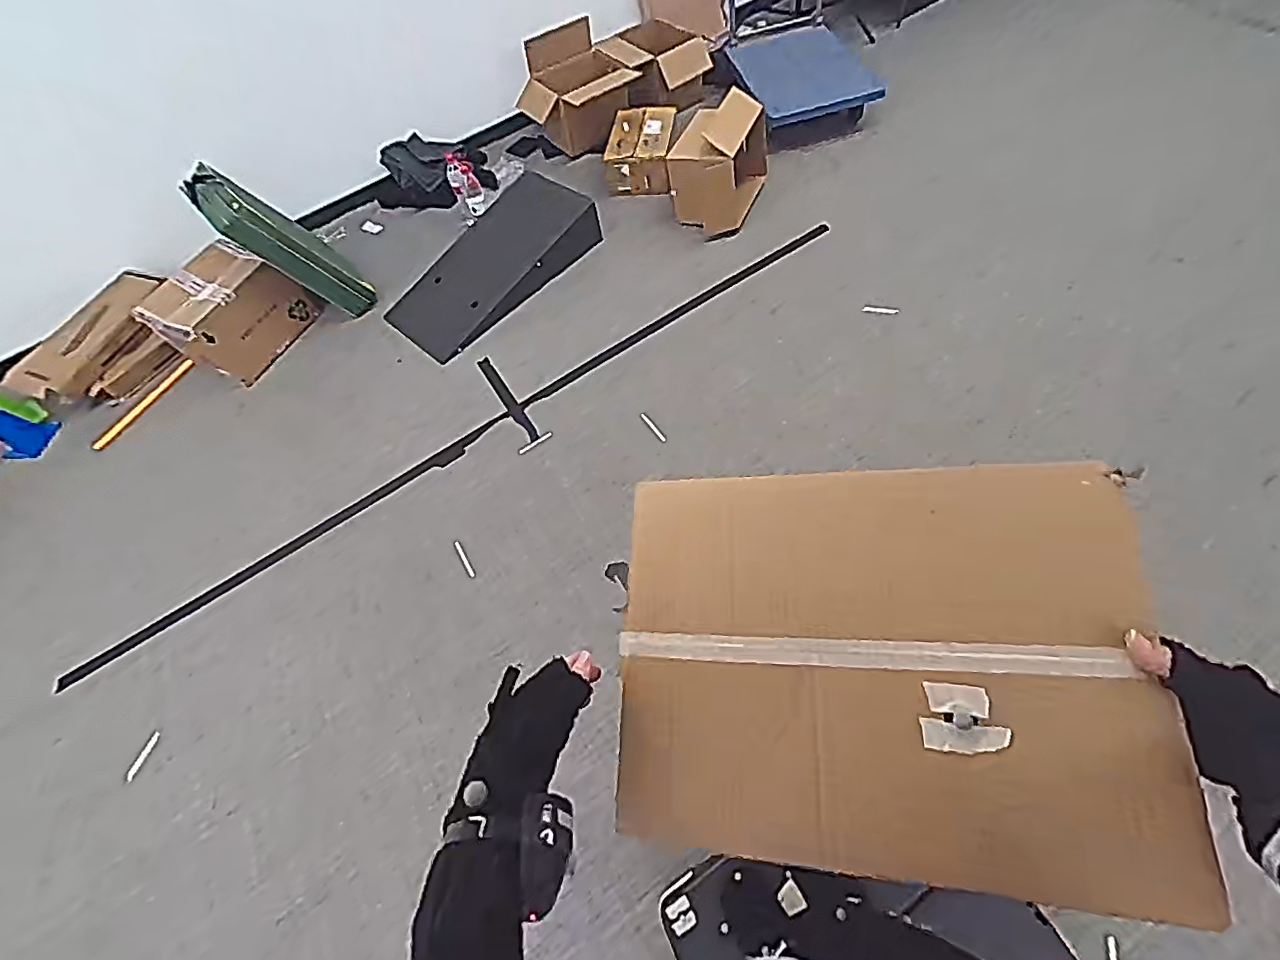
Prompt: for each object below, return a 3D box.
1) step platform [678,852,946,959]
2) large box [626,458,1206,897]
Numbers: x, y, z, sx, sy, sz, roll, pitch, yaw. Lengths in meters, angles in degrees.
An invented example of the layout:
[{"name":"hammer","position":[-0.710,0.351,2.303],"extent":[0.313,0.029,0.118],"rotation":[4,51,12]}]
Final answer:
[{"name":"step platform","position":[0.420,0.836,1.202],"extent":[0.684,0.204,0.286],"rotation":[-33,60,-11]},{"name":"large box","position":[0.219,0.189,0.584],"extent":[0.408,0.320,0.320],"rotation":[-4,71,16]}]
